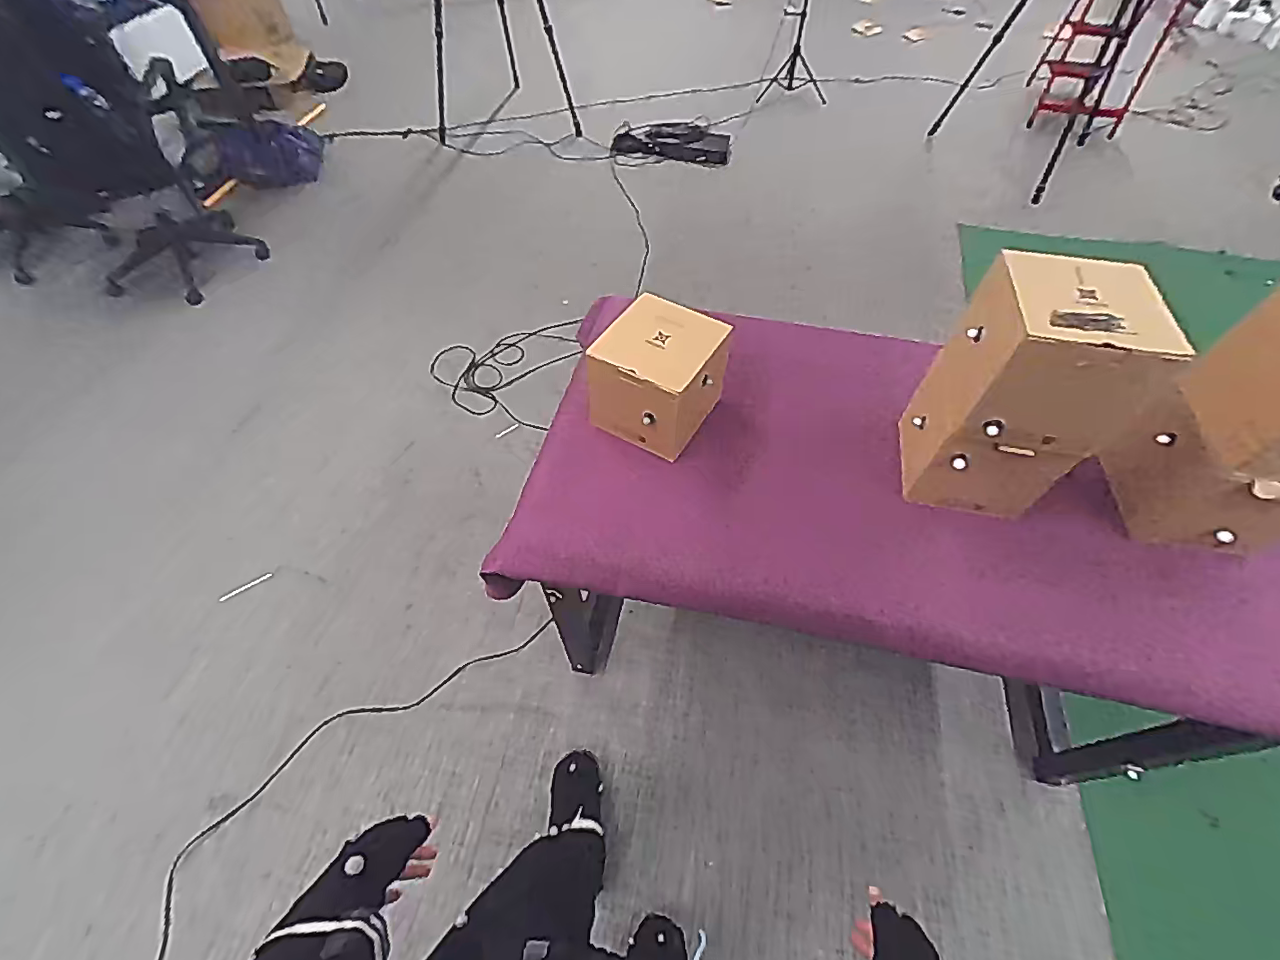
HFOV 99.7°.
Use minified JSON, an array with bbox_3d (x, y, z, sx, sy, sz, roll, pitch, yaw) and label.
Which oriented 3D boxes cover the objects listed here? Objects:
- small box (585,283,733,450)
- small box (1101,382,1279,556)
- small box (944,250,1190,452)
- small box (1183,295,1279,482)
[{"bbox_3d":[0.032,-0.180,0.877,0.168,0.176,0.179,27,59,17],"label":"small box"},{"bbox_3d":[0.826,-0.014,0.784,0.168,0.176,0.179,8,55,6],"label":"small box"},{"bbox_3d":[0.511,-0.158,0.683,0.168,0.176,0.179,11,54,7],"label":"small box"},{"bbox_3d":[0.830,-0.110,0.652,0.168,0.176,0.179,8,56,6],"label":"small box"}]
